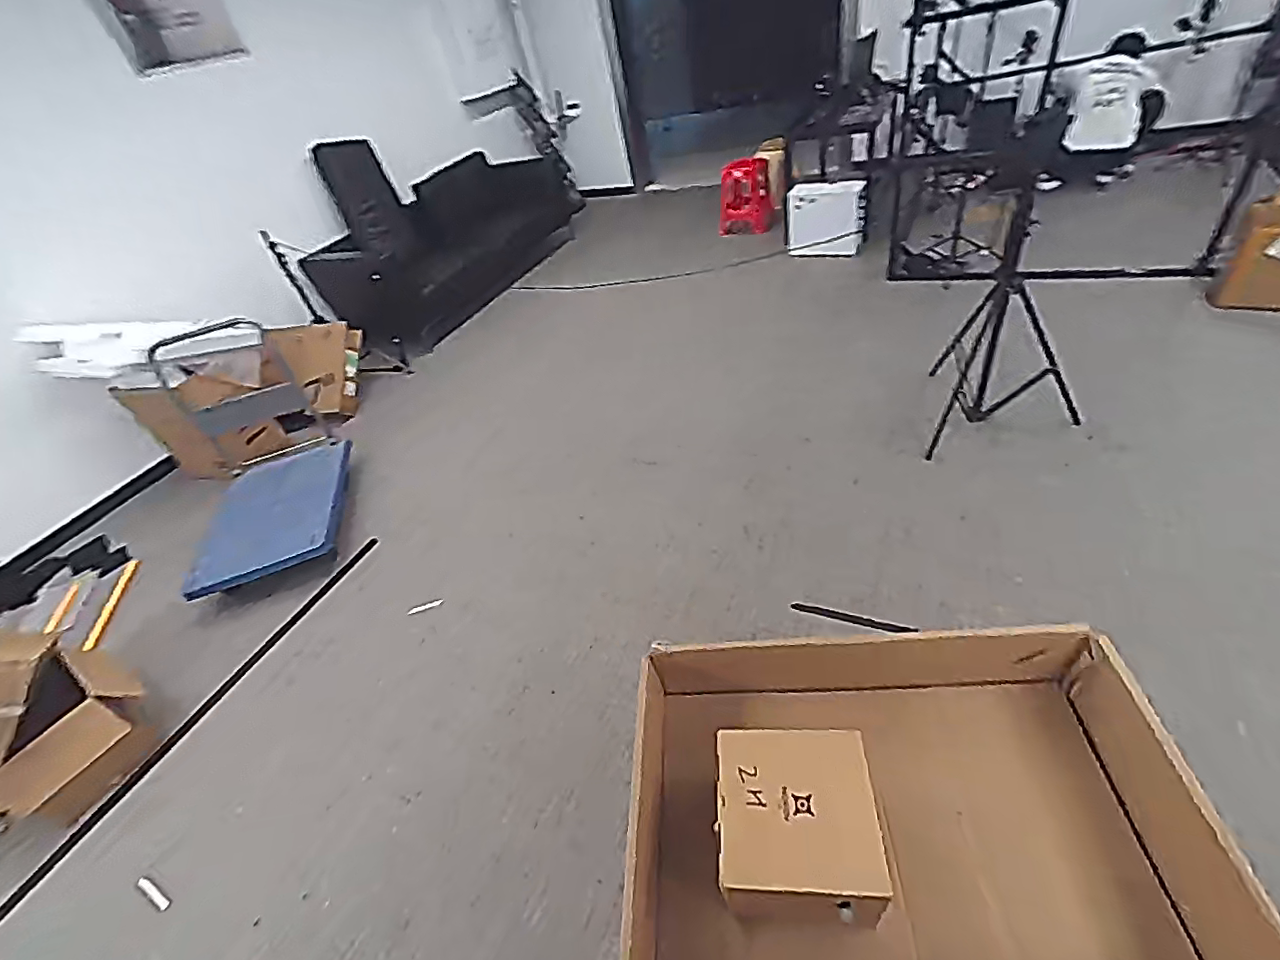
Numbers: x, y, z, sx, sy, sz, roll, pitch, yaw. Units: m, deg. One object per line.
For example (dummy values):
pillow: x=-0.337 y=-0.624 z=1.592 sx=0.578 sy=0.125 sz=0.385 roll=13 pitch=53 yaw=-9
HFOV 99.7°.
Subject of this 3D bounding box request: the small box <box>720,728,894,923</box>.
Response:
small box: x=0.192 y=0.425 z=0.667 sx=0.179 sy=0.176 sz=0.168 roll=-4 pitch=42 yaw=11
